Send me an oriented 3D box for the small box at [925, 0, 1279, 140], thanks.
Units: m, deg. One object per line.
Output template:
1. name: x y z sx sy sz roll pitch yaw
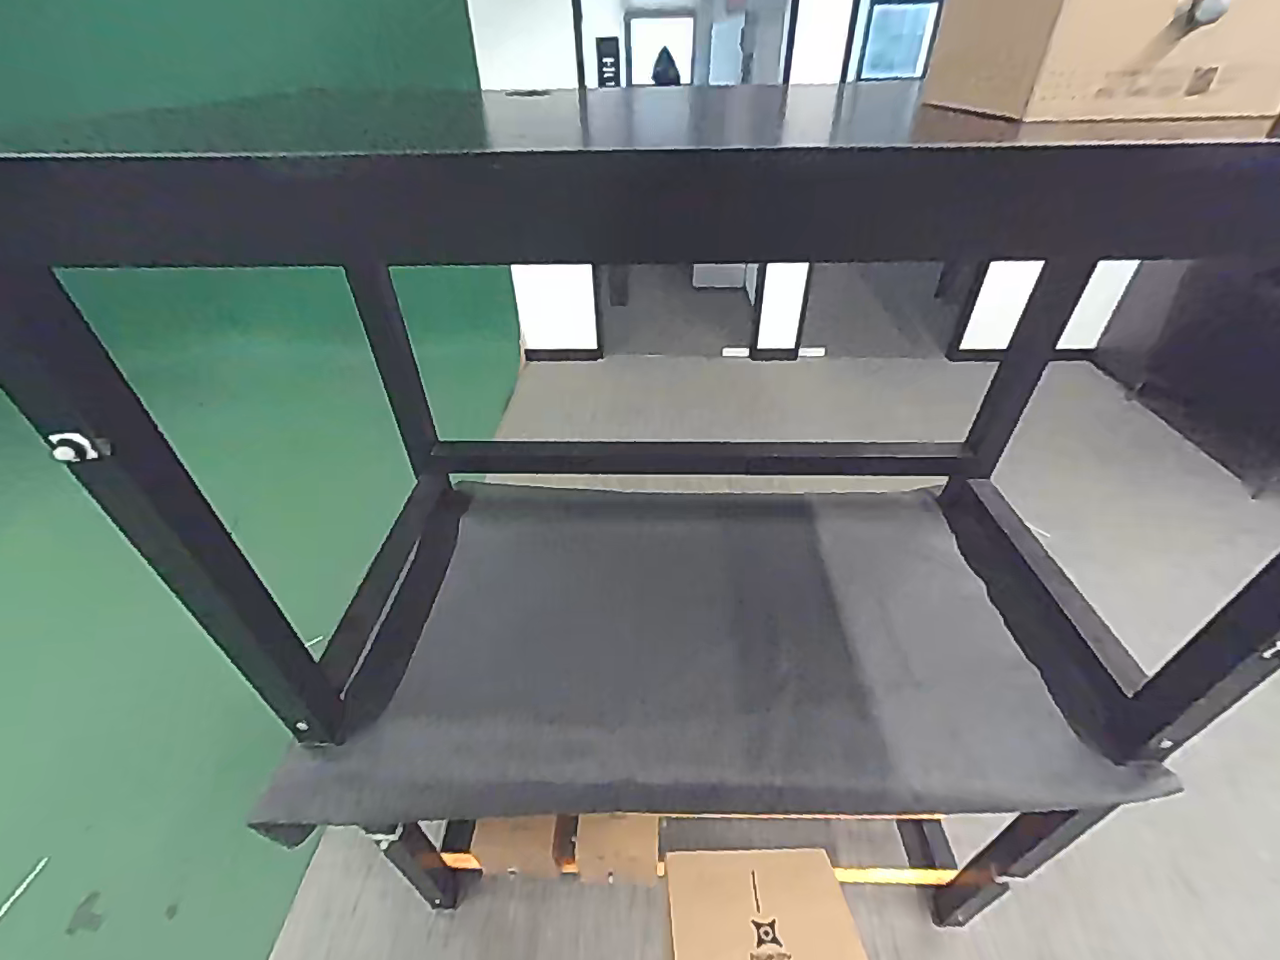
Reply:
1. small box: 0.330 -0.347 0.377 0.168 0.176 0.179 0 39 2
